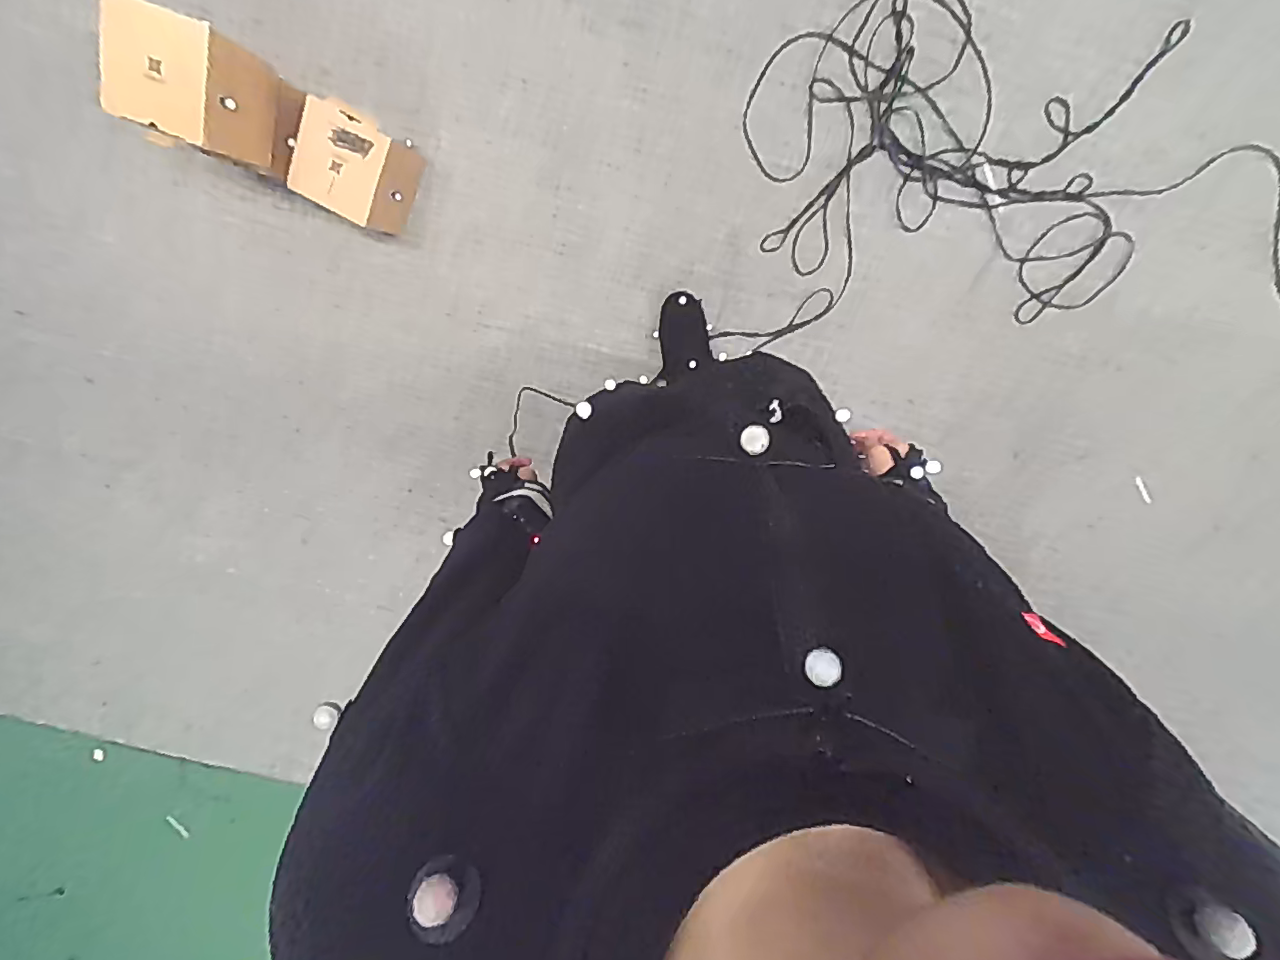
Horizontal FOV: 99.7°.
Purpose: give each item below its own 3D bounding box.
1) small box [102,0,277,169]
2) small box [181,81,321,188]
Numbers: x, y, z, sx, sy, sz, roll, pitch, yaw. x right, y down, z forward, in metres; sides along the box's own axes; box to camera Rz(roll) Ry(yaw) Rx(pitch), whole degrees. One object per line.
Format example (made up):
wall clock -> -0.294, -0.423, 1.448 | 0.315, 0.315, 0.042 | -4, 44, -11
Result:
small box -> -0.762, -0.669, 0.931 | 0.168, 0.176, 0.179 | 18, 109, -5
small box -> -0.774, -0.714, 1.088 | 0.168, 0.176, 0.179 | 18, 110, -5
